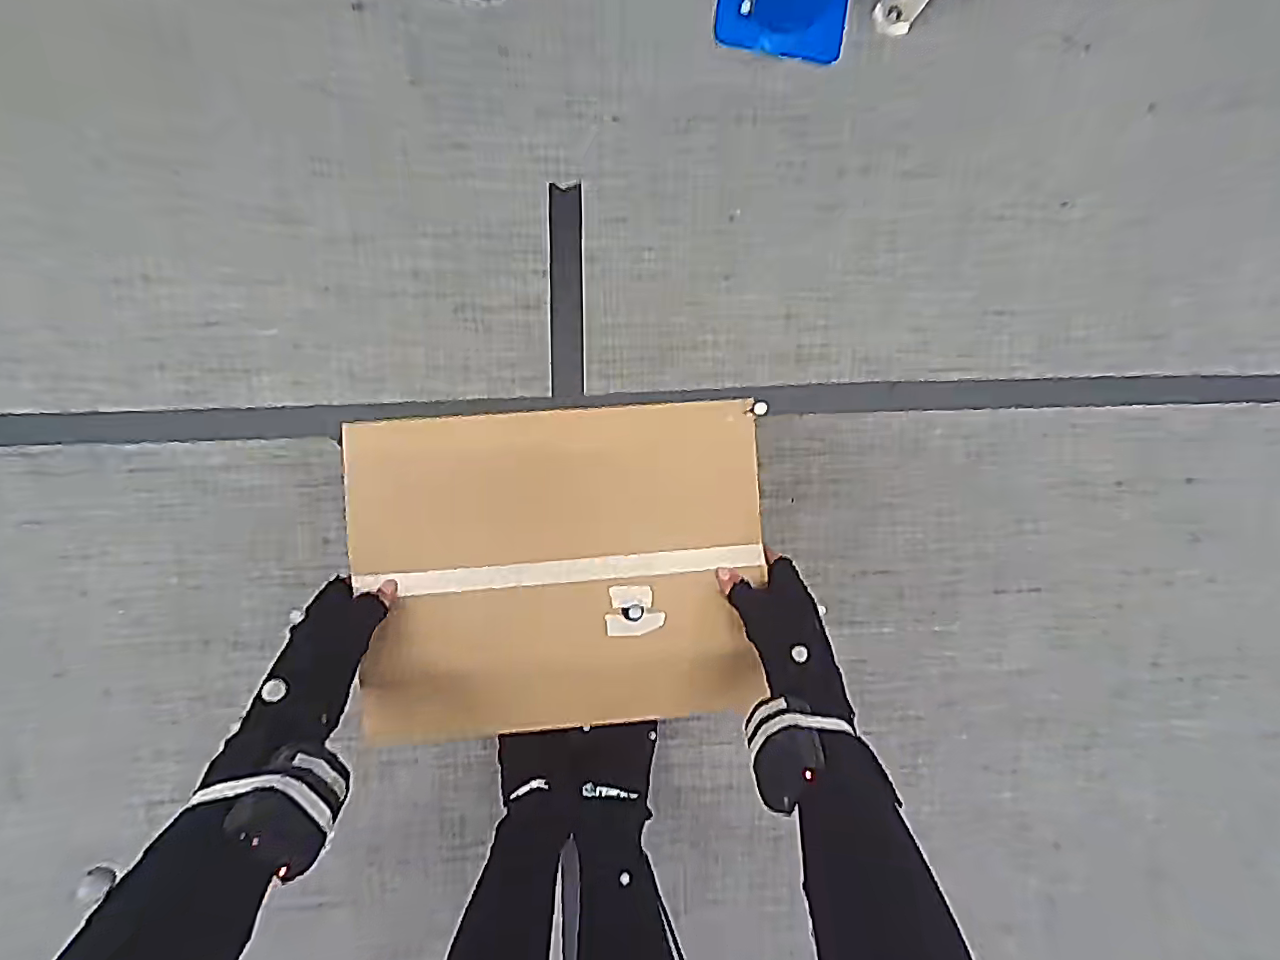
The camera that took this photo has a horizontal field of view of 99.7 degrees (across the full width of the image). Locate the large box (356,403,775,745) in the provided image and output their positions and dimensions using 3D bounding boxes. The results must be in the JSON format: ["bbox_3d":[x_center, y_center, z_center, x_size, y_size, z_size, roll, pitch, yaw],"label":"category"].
[{"bbox_3d":[-0.082,0.095,0.689,0.408,0.320,0.320,-4,89,-4],"label":"large box"}]
